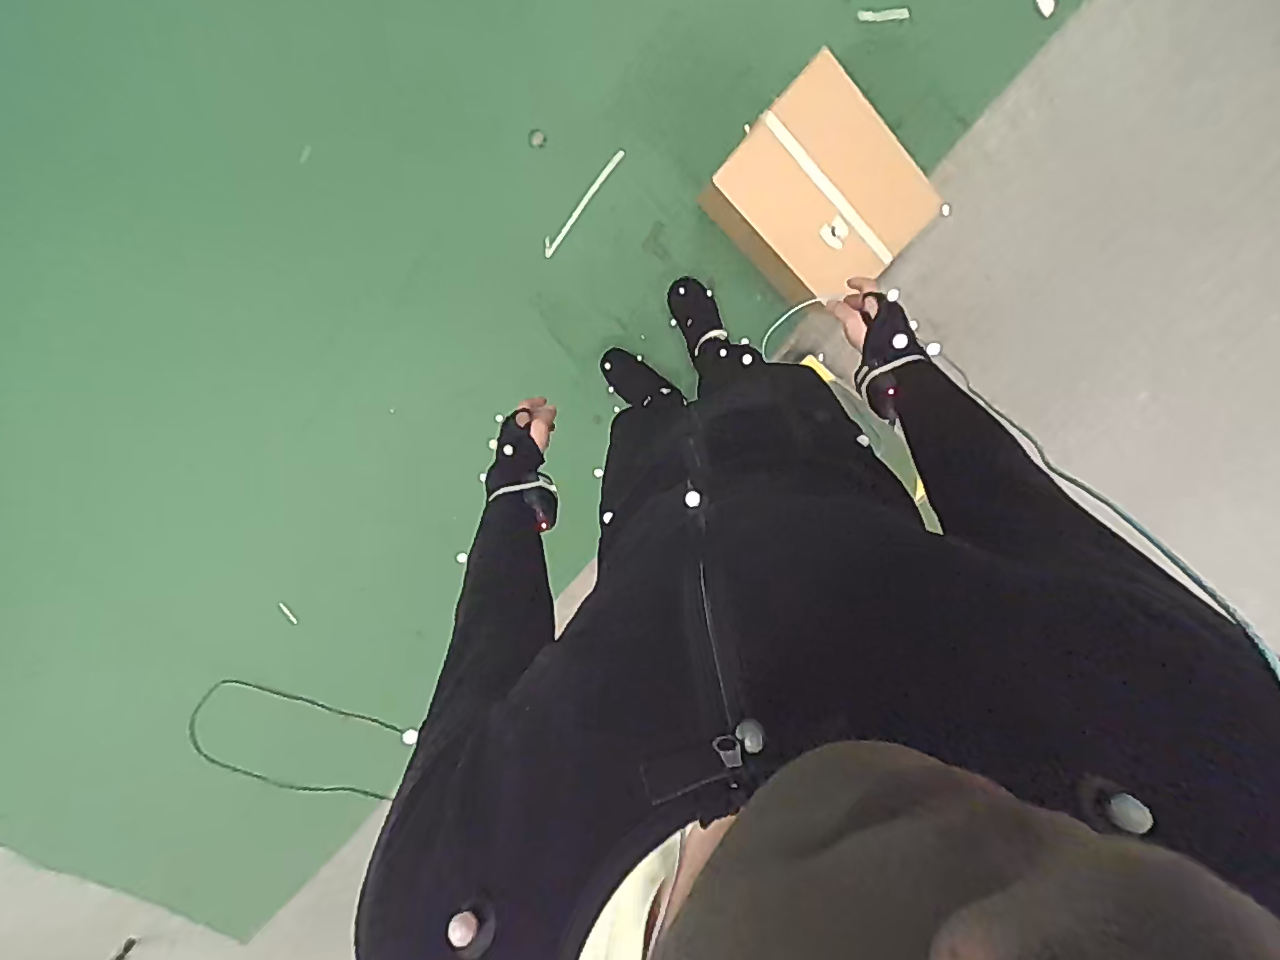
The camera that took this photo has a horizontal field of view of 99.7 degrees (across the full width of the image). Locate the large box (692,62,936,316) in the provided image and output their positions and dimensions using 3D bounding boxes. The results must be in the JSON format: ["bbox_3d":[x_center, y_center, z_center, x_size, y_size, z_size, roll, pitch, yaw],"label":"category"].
[{"bbox_3d":[0.382,-0.649,1.281,0.408,0.320,0.320,40,105,-15],"label":"large box"}]
